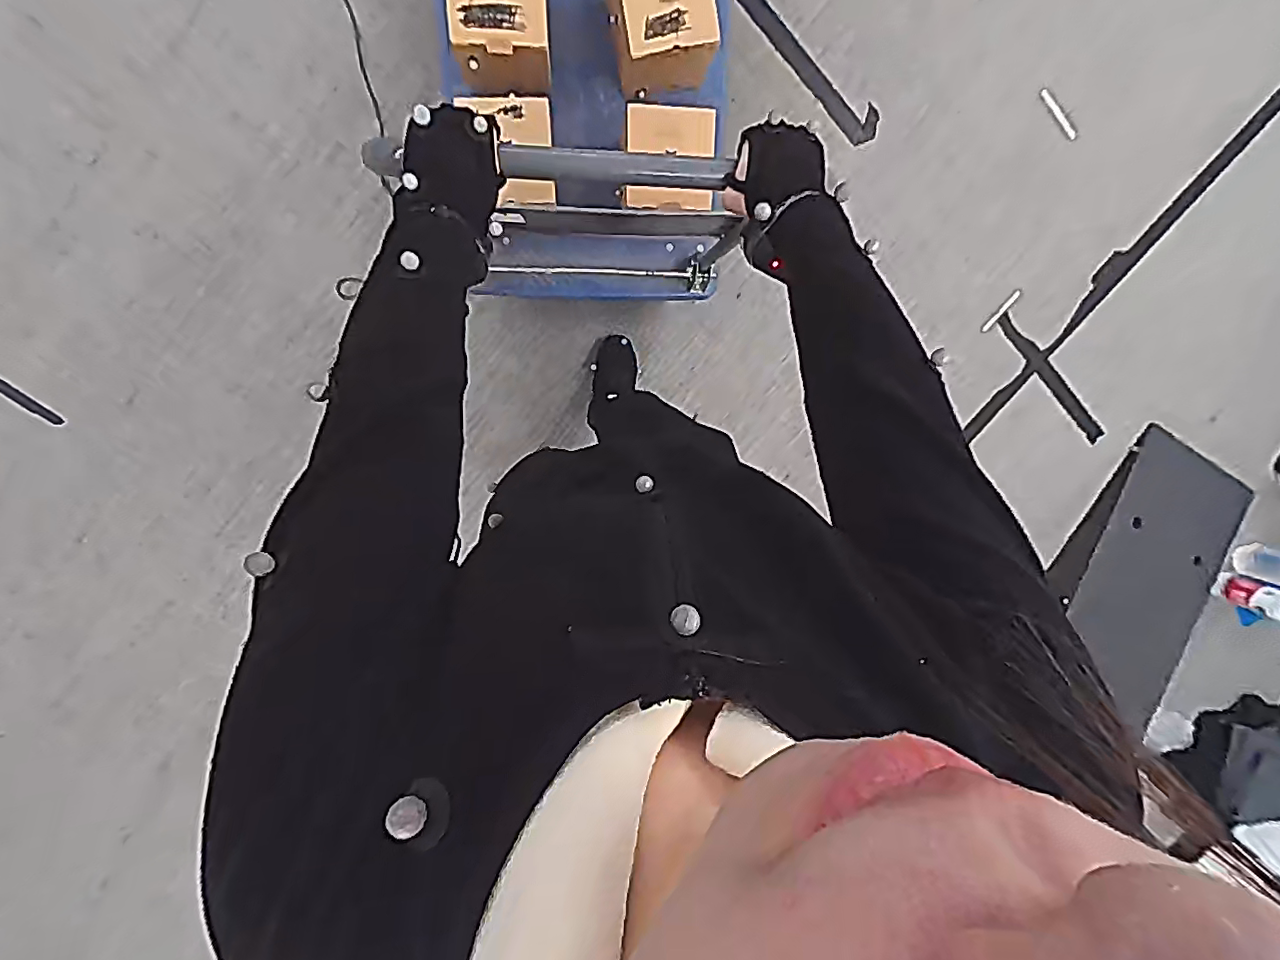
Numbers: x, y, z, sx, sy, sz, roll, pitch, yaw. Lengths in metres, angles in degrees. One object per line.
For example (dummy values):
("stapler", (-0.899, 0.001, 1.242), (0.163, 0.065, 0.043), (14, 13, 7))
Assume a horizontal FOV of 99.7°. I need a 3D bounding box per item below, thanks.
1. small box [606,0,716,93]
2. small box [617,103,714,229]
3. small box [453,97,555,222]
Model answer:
("small box", (0.034, -0.865, 1.019), (0.168, 0.176, 0.179), (-12, 104, -4))
("small box", (0.043, -0.614, 1.082), (0.168, 0.176, 0.179), (0, 103, -8))
("small box", (-0.252, -0.605, 1.043), (0.168, 0.176, 0.179), (-4, 104, -7))
